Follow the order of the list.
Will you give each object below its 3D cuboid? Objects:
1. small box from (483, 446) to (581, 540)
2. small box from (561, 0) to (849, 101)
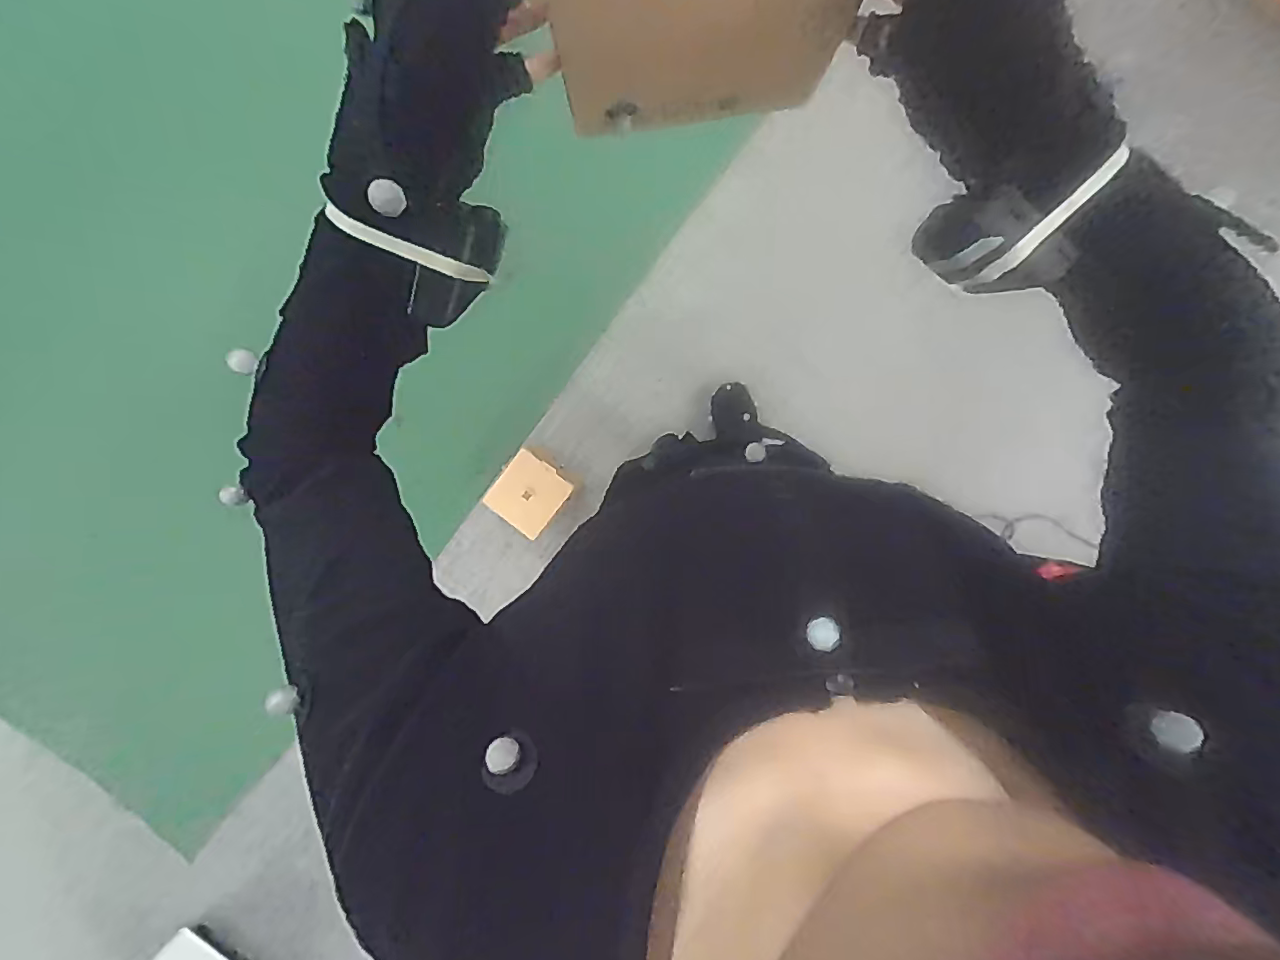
[{"bbox_3d":[-0.269,0.029,1.404,0.168,0.176,0.179,37,94,-2],"label":"small box"},{"bbox_3d":[0.031,-0.336,0.285,0.168,0.176,0.179,-7,96,1],"label":"small box"}]
